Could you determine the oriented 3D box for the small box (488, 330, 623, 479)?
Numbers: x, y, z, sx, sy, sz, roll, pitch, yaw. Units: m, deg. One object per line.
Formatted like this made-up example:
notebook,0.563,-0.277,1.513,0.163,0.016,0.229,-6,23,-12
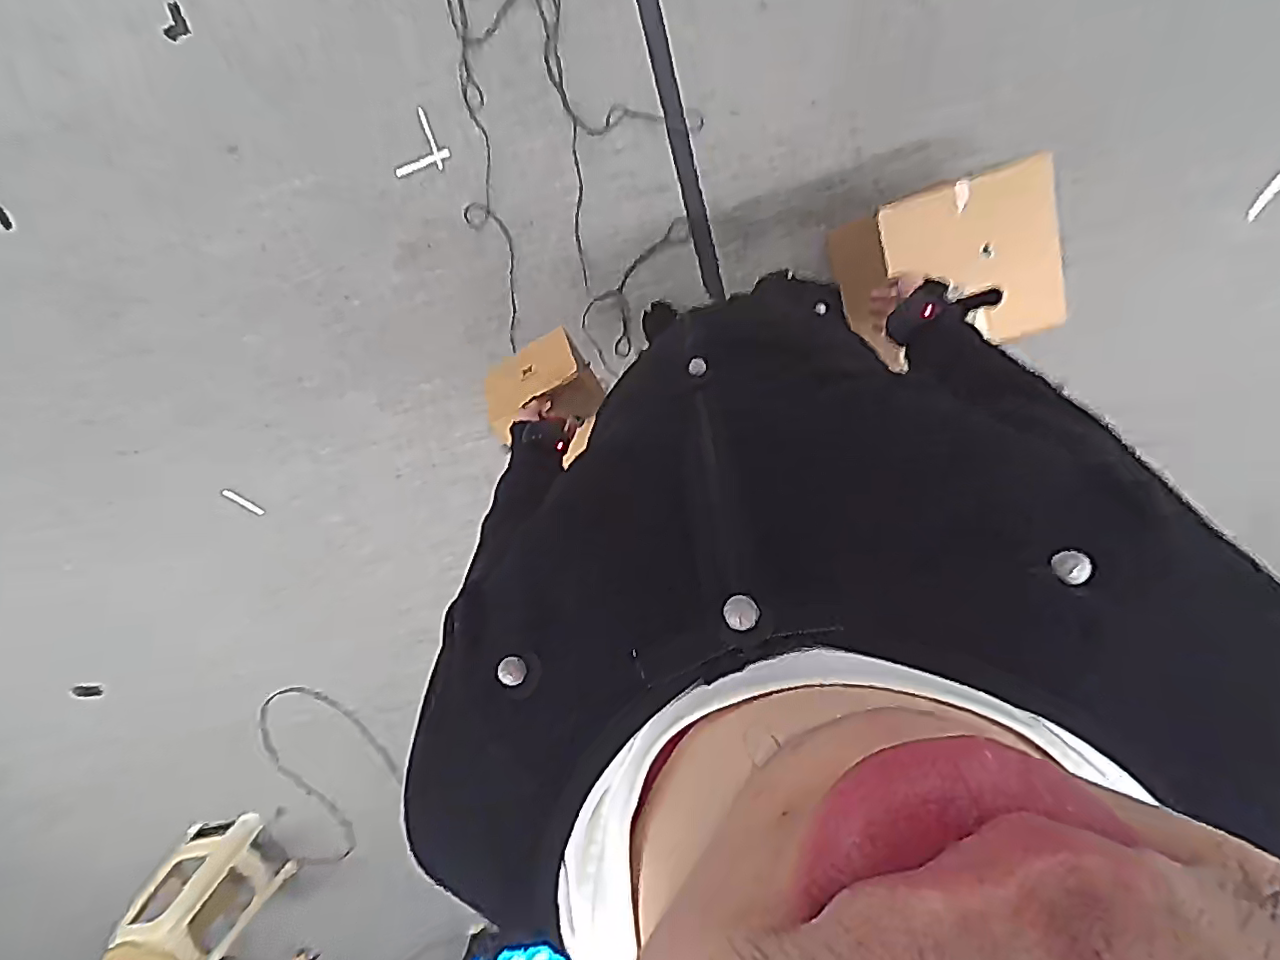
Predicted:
small box,-0.147,-0.124,0.956,0.168,0.179,0.176,-29,131,6
